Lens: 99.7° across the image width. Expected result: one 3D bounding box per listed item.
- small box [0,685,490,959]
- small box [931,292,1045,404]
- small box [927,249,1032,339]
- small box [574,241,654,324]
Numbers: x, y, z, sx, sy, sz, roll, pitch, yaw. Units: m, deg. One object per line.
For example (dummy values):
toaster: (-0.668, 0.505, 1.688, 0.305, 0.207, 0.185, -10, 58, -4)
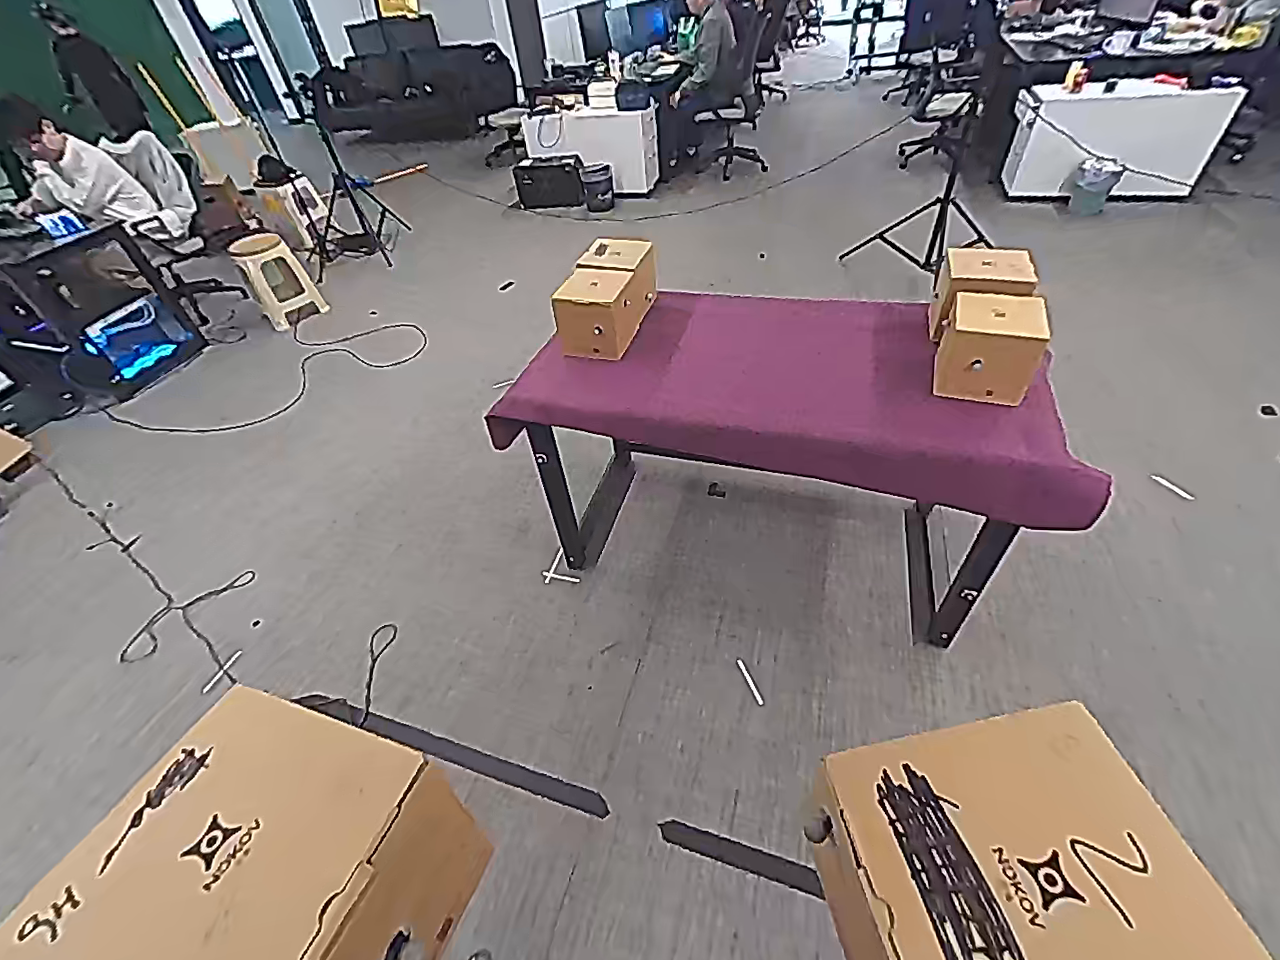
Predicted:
small box: (-0.227, 0.275, 0.363, 0.179, 0.176, 0.168, 11, 42, 17)
small box: (0.747, -0.286, 1.176, 0.168, 0.176, 0.179, 12, 47, 20)
small box: (0.814, -0.445, 1.318, 0.179, 0.176, 0.168, 10, 48, 16)
small box: (-0.068, -0.570, 1.560, 0.179, 0.176, 0.168, 11, 49, 16)
